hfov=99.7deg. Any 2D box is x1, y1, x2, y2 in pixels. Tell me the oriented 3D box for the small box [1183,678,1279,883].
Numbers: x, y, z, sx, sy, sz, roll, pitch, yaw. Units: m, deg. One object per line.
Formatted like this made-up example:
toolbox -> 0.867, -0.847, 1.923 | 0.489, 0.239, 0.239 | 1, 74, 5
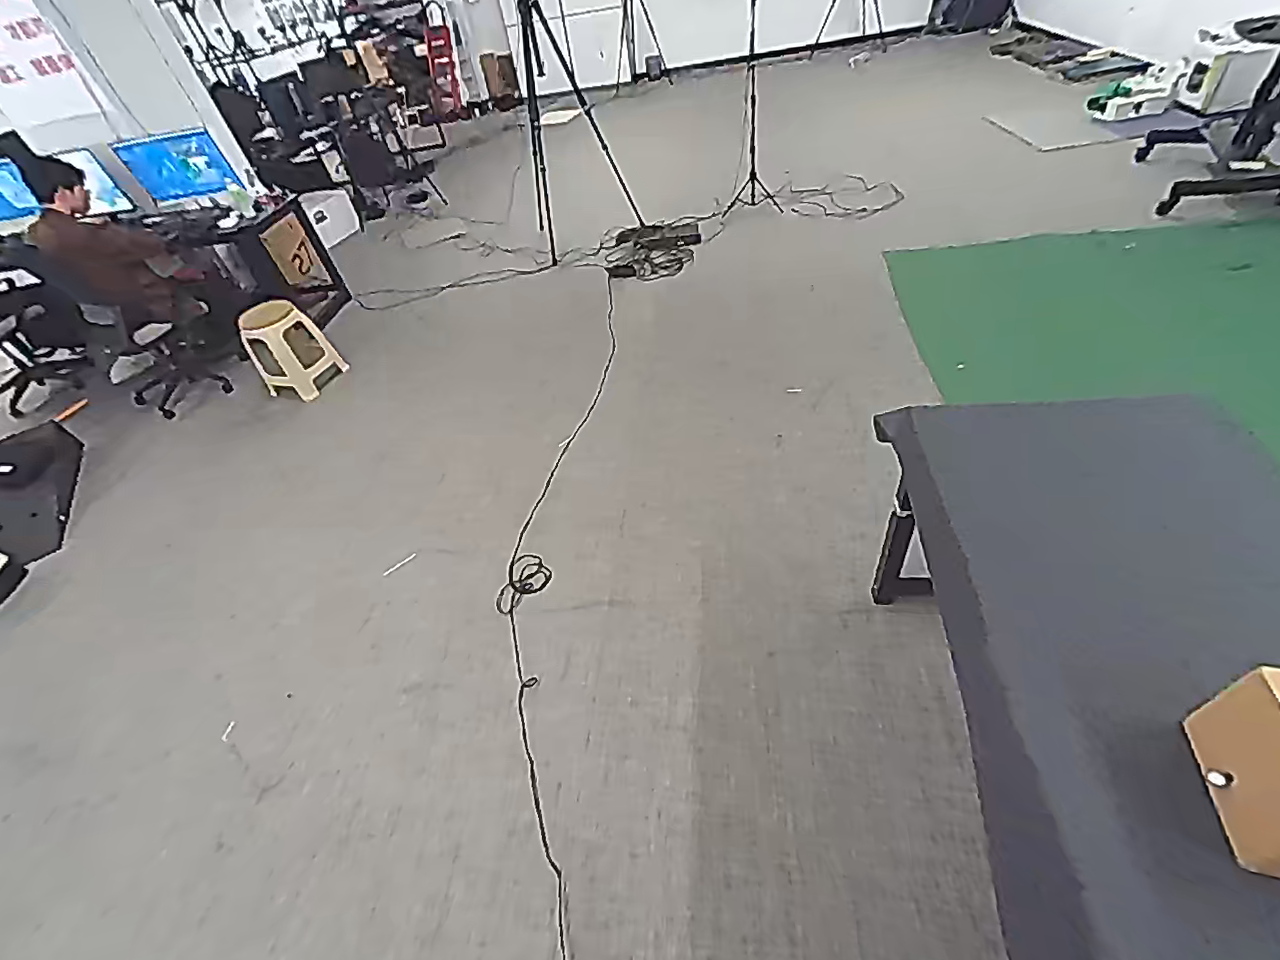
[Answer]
small box -> 0.779, 0.354, 0.605 | 0.168, 0.176, 0.179 | 5, 47, 16
